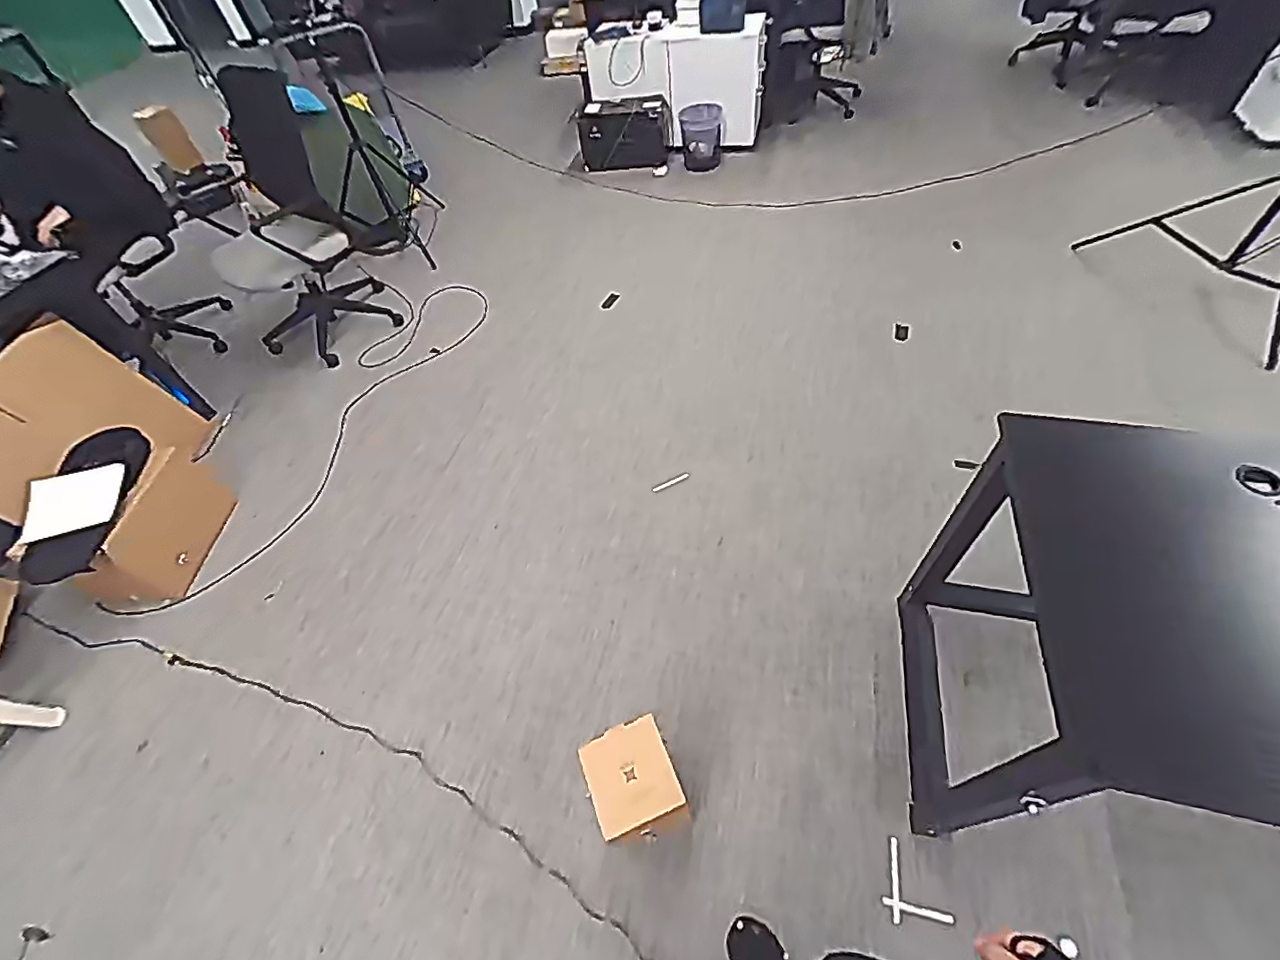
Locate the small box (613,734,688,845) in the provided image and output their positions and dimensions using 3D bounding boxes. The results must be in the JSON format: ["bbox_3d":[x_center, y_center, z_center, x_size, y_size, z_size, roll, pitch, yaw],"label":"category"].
[{"bbox_3d":[0.008,0.716,1.243,0.168,0.176,0.179,-17,51,-7],"label":"small box"}]

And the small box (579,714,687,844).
[{"bbox_3d":[-0.012,0.619,1.115,0.168,0.176,0.179,-22,54,-8],"label":"small box"}]
